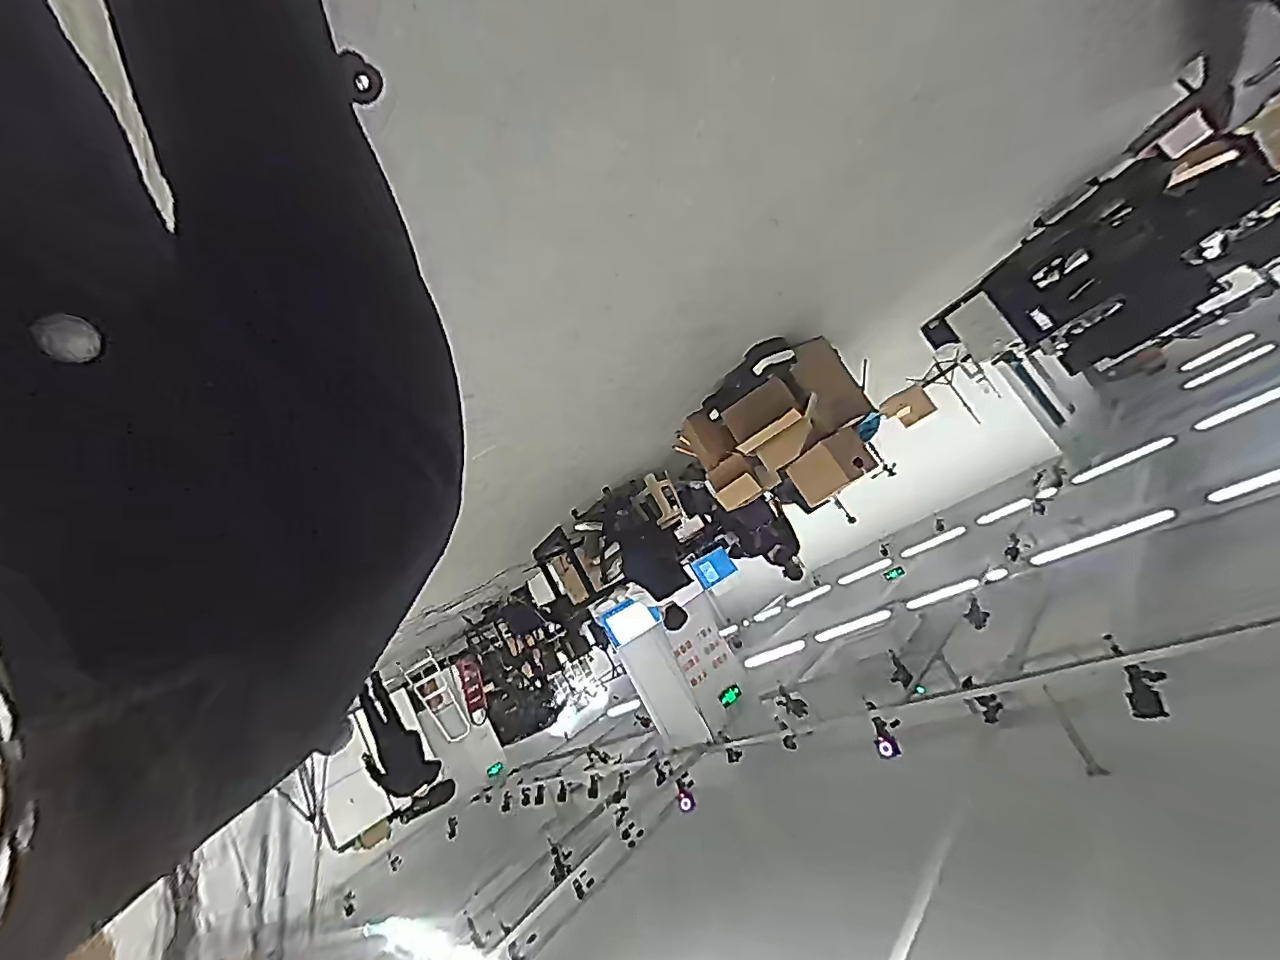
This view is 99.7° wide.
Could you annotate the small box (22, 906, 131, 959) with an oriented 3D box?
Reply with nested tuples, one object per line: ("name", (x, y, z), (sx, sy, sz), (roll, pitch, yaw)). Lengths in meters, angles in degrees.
("small box", (-1.471, 1.261, 1.408), (0.179, 0.176, 0.168), (-20, 165, -42))
